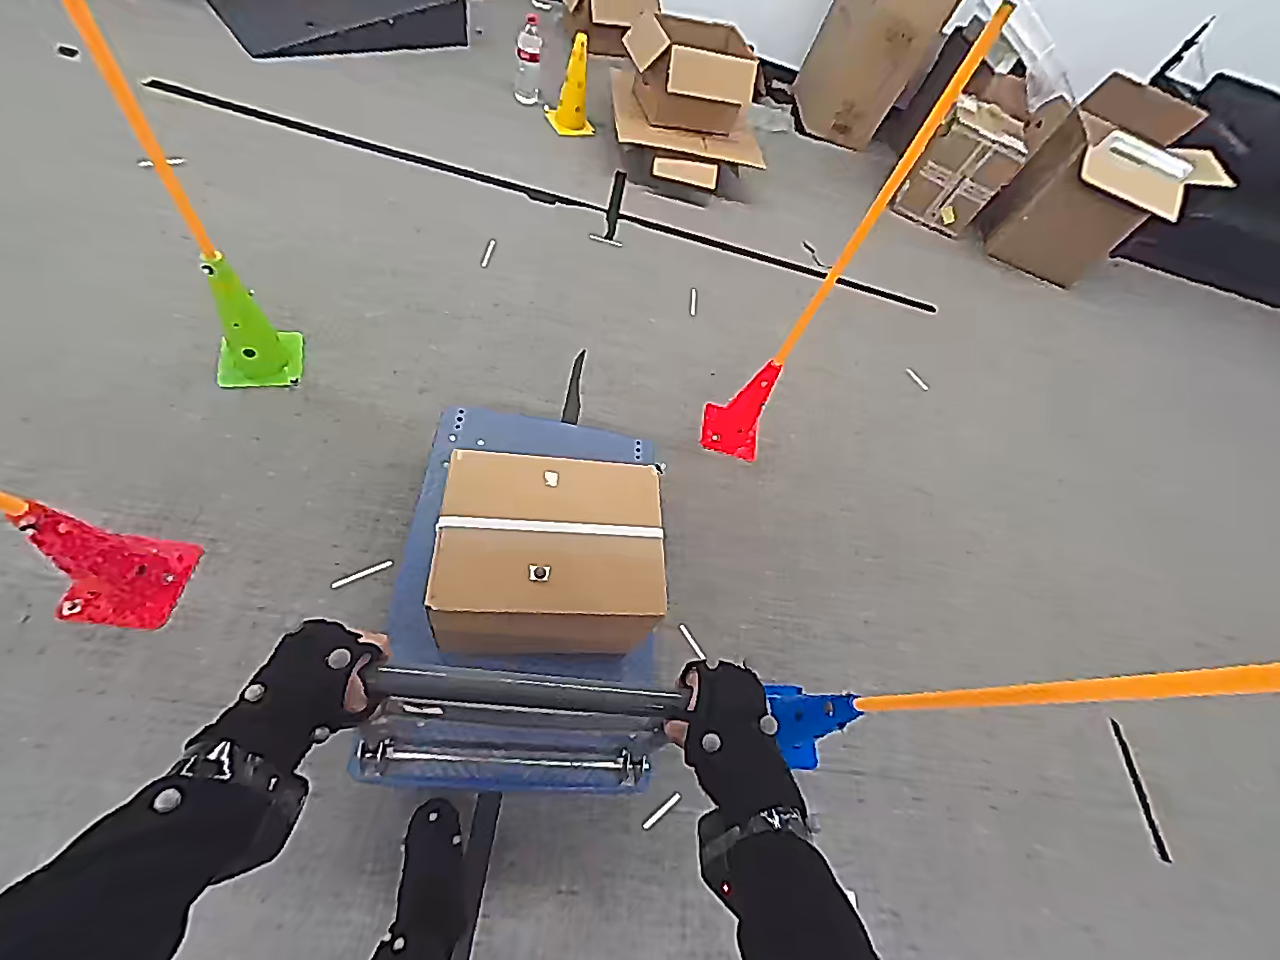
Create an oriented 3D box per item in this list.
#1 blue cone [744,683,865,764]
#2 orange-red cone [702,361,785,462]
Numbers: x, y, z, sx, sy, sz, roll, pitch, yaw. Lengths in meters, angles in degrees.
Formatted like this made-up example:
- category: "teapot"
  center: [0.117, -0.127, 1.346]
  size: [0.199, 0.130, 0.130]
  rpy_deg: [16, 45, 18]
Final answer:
- category: "blue cone"
  center: [0.409, 0.547, 1.272]
  size: [0.193, 0.380, 0.192]
  rpy_deg: [8, 57, -12]
- category: "orange-red cone"
  center: [0.362, -0.247, 1.717]
  size: [0.199, 0.360, 0.198]
  rpy_deg: [18, 57, -7]
